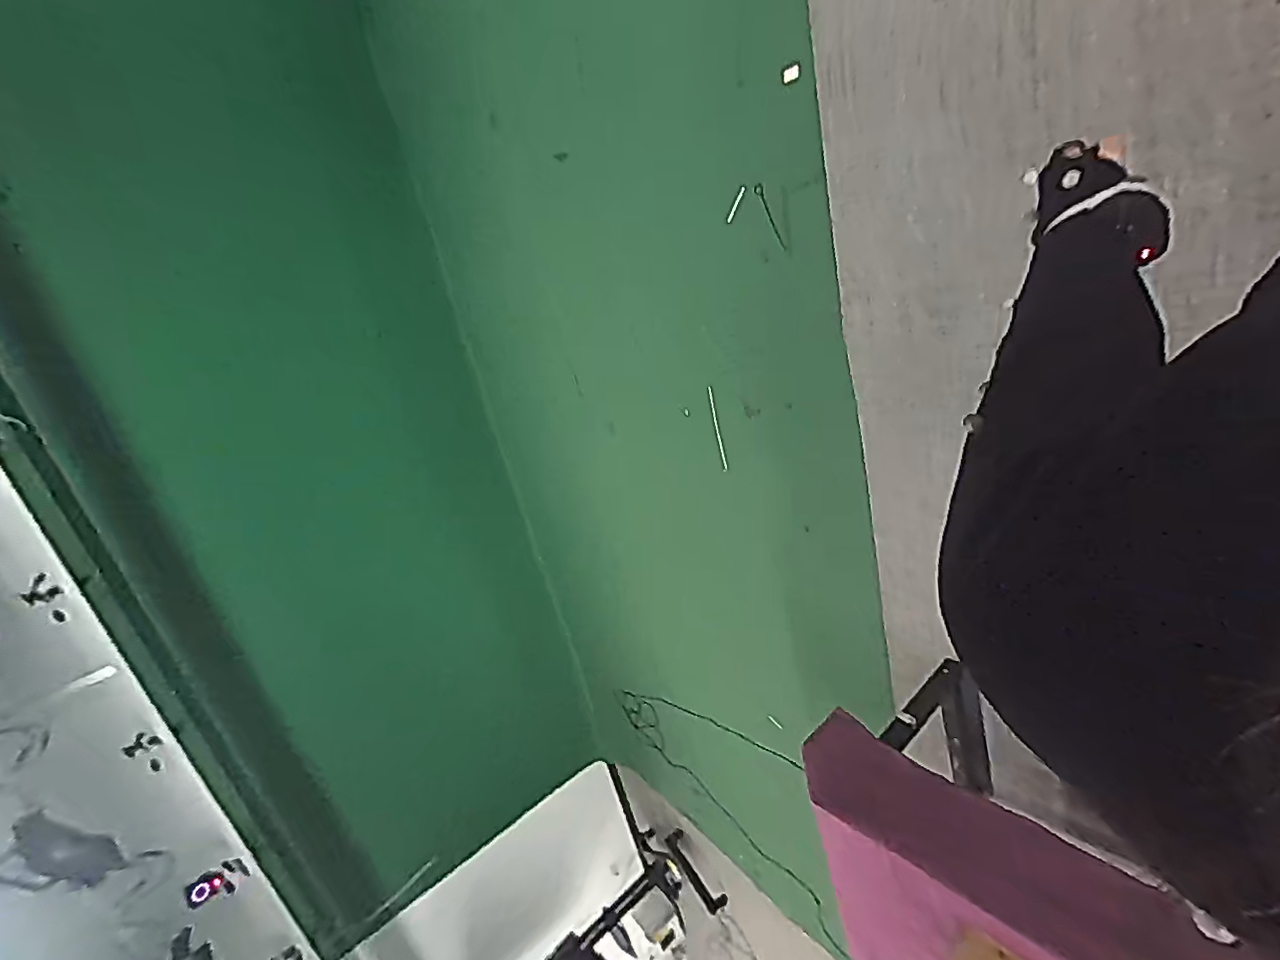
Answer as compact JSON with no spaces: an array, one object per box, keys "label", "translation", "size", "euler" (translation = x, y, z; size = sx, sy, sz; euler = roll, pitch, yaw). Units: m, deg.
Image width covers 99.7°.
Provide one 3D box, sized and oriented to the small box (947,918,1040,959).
[{"label":"small box","translation":[0.715,1.035,1.062],"size":[0.168,0.176,0.179],"euler":[5,117,53]}]
